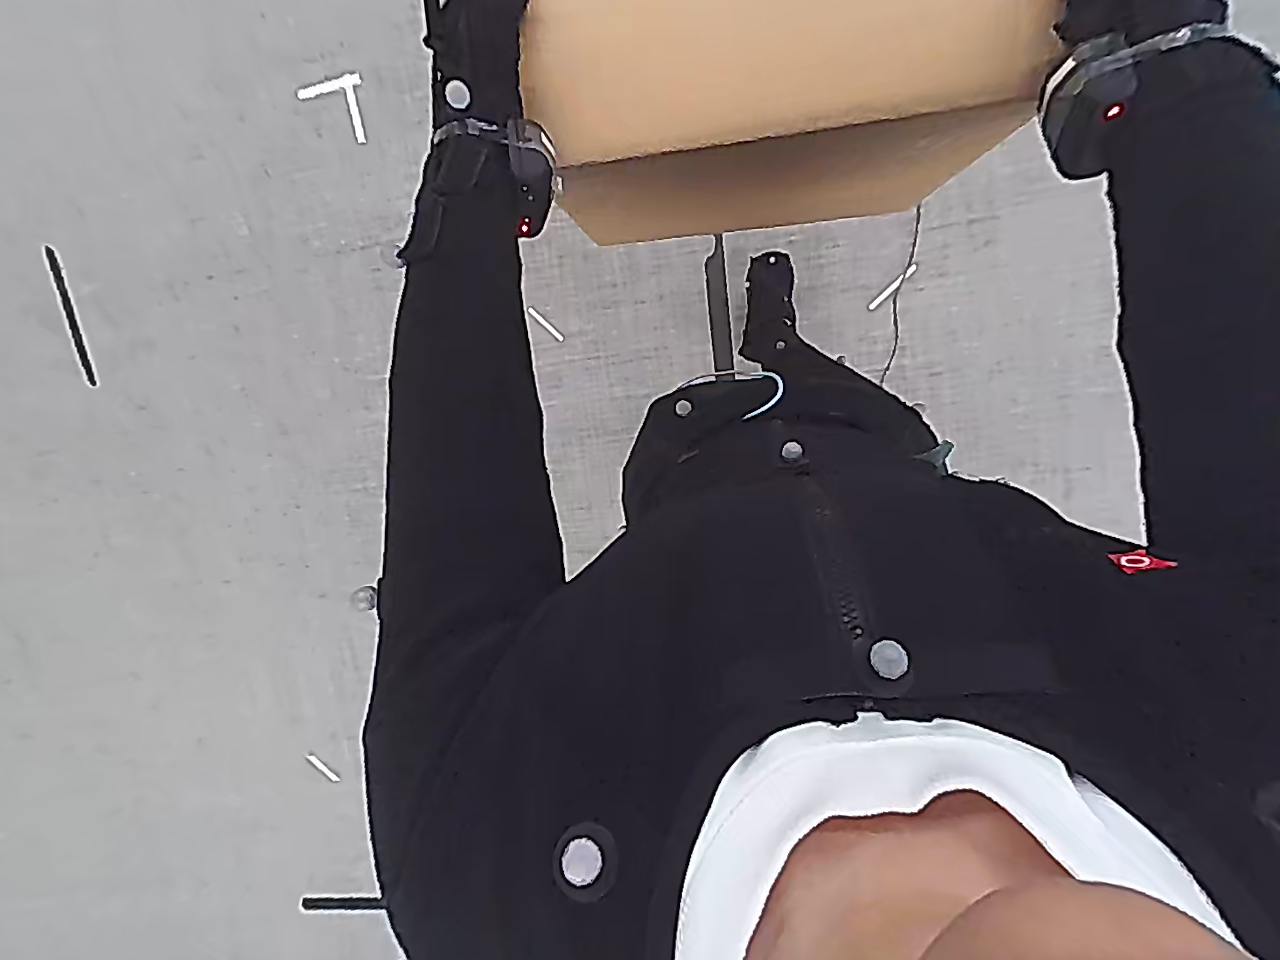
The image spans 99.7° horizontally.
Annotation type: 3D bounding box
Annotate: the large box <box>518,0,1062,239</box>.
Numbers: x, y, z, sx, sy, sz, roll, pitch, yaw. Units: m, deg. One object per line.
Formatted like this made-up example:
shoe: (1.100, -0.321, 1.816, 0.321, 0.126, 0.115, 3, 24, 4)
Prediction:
large box: (0.109, -0.458, 0.534, 0.408, 0.320, 0.320, -4, 103, 7)
